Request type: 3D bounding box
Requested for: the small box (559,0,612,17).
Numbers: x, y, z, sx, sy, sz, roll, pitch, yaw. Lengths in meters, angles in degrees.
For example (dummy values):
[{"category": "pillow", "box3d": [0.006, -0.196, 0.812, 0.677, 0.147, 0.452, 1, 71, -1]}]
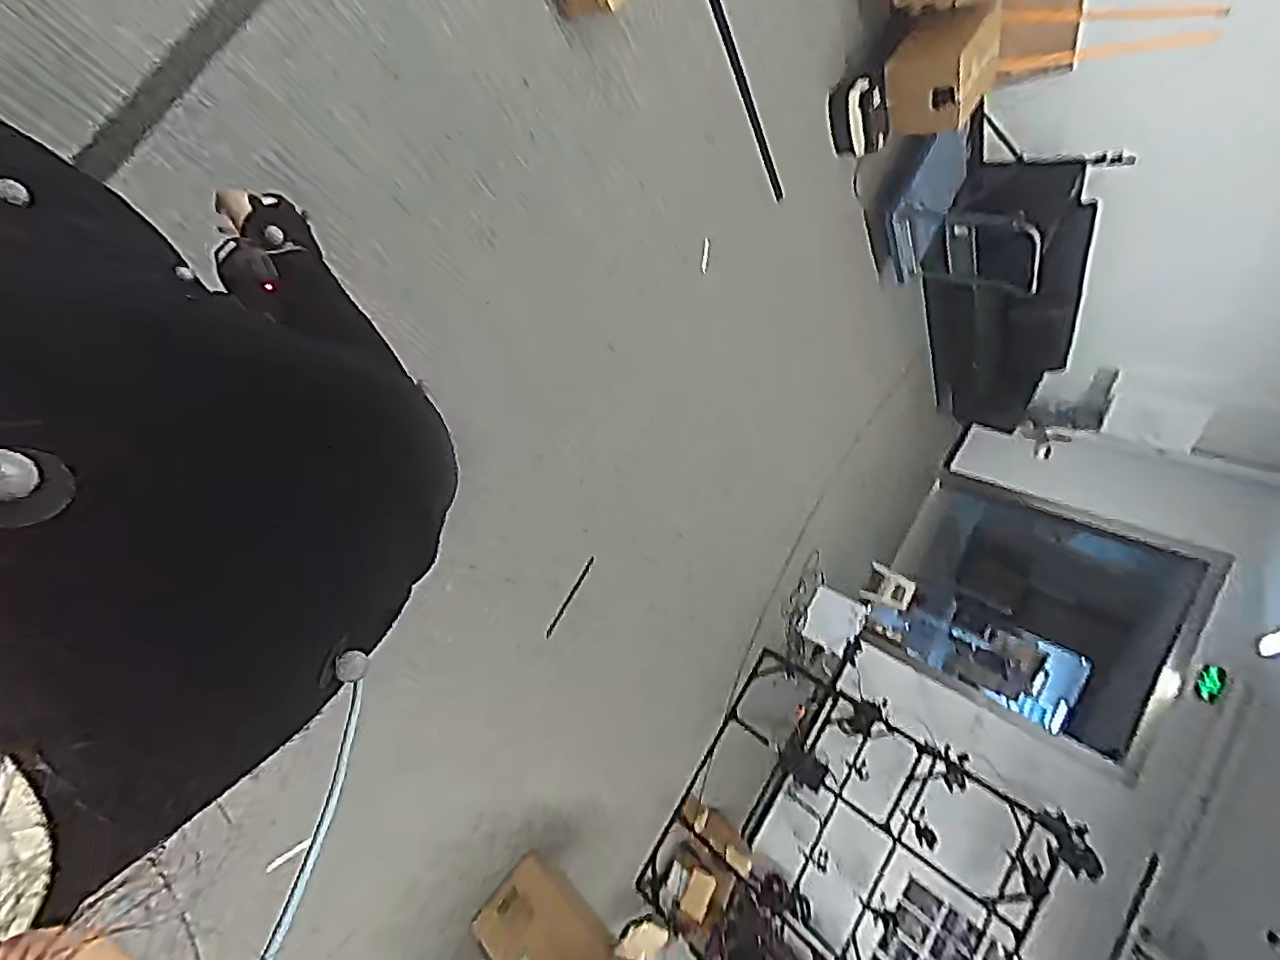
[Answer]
[{"category": "small box", "box3d": [-0.132, -1.346, 1.393, 0.179, 0.176, 0.168, -56, 142, -13]}]
